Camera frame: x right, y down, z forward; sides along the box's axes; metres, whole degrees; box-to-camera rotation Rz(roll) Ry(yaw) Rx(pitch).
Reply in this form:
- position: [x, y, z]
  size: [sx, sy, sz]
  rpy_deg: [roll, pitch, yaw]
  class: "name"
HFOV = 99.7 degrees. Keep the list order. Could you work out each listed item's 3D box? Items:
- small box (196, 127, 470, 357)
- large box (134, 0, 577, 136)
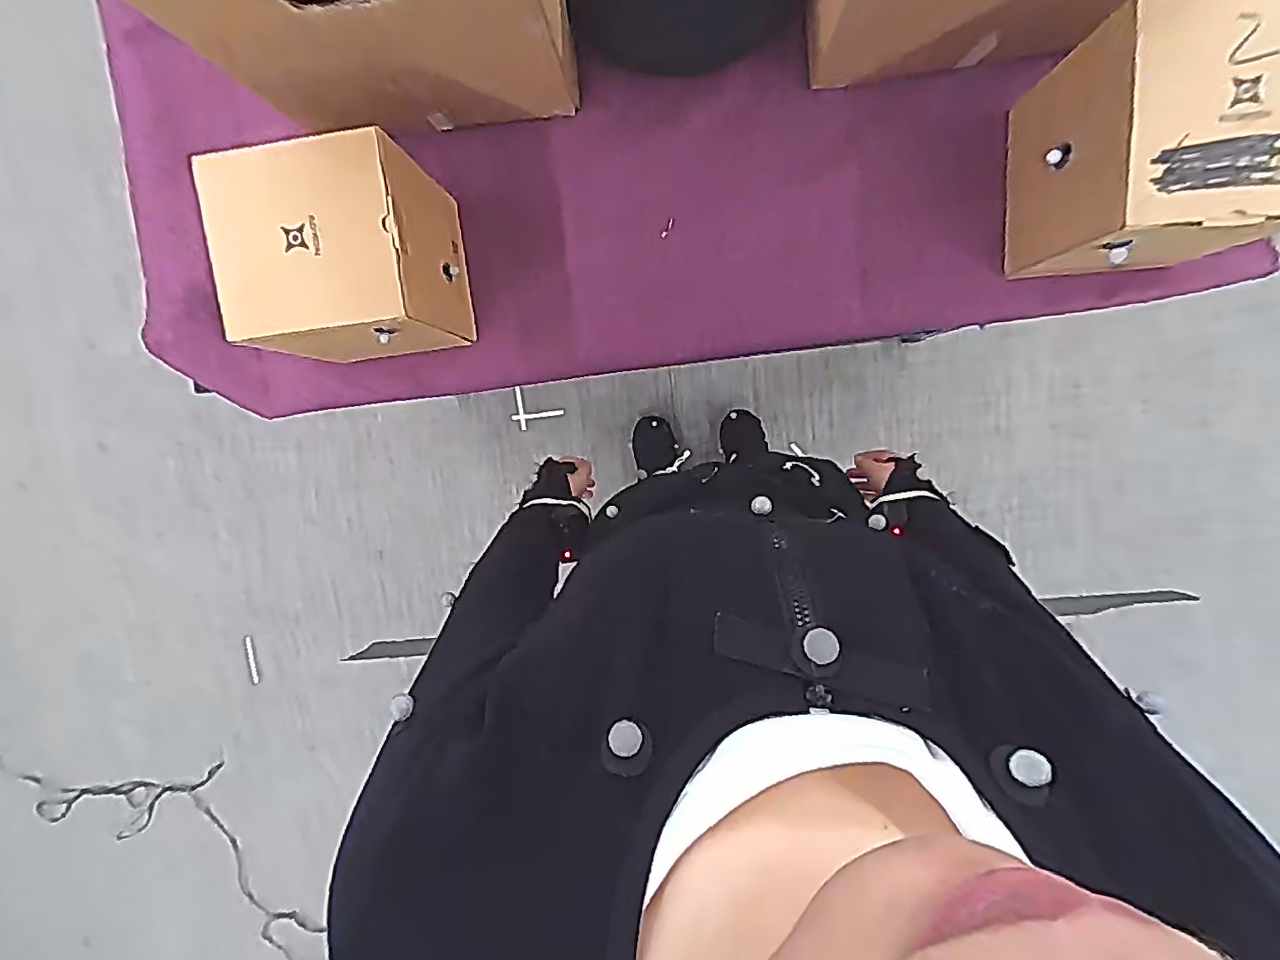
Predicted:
- position: [-0.303, -0.230, 0.569]
  size: [0.179, 0.176, 0.168]
  rpy_deg: [-7, 96, 4]
  class: "small box"
- position: [-0.245, -0.578, 0.449]
  size: [0.320, 0.320, 0.408]
  rpy_deg: [-4, 100, 5]
  class: "large box"
